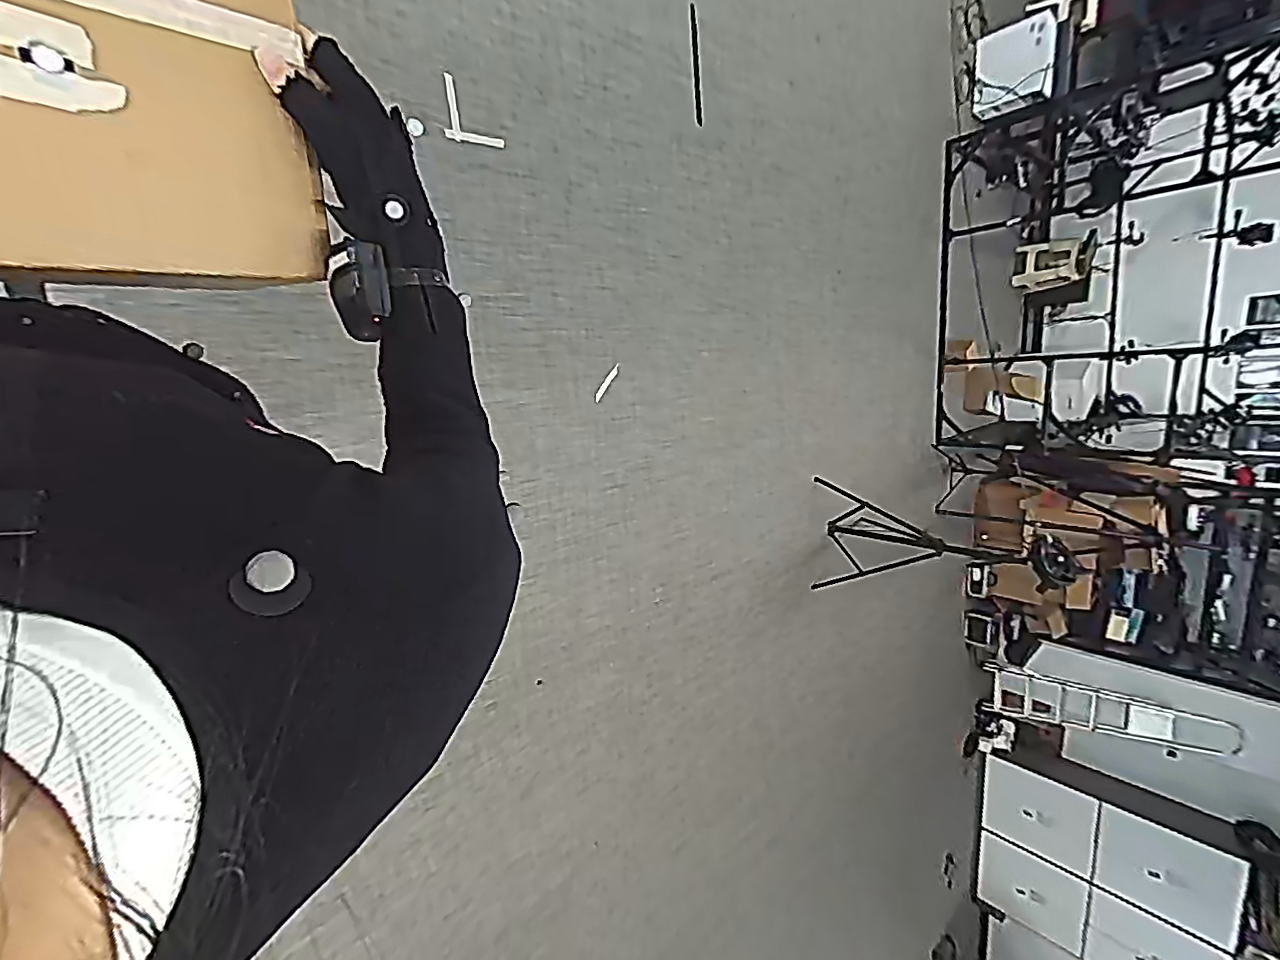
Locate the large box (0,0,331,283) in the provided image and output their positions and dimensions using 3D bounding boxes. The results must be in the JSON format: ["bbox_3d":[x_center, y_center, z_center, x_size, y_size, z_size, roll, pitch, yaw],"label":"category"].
[{"bbox_3d":[-0.502,-0.307,0.371,0.408,0.320,0.320,-17,115,-43],"label":"large box"}]
